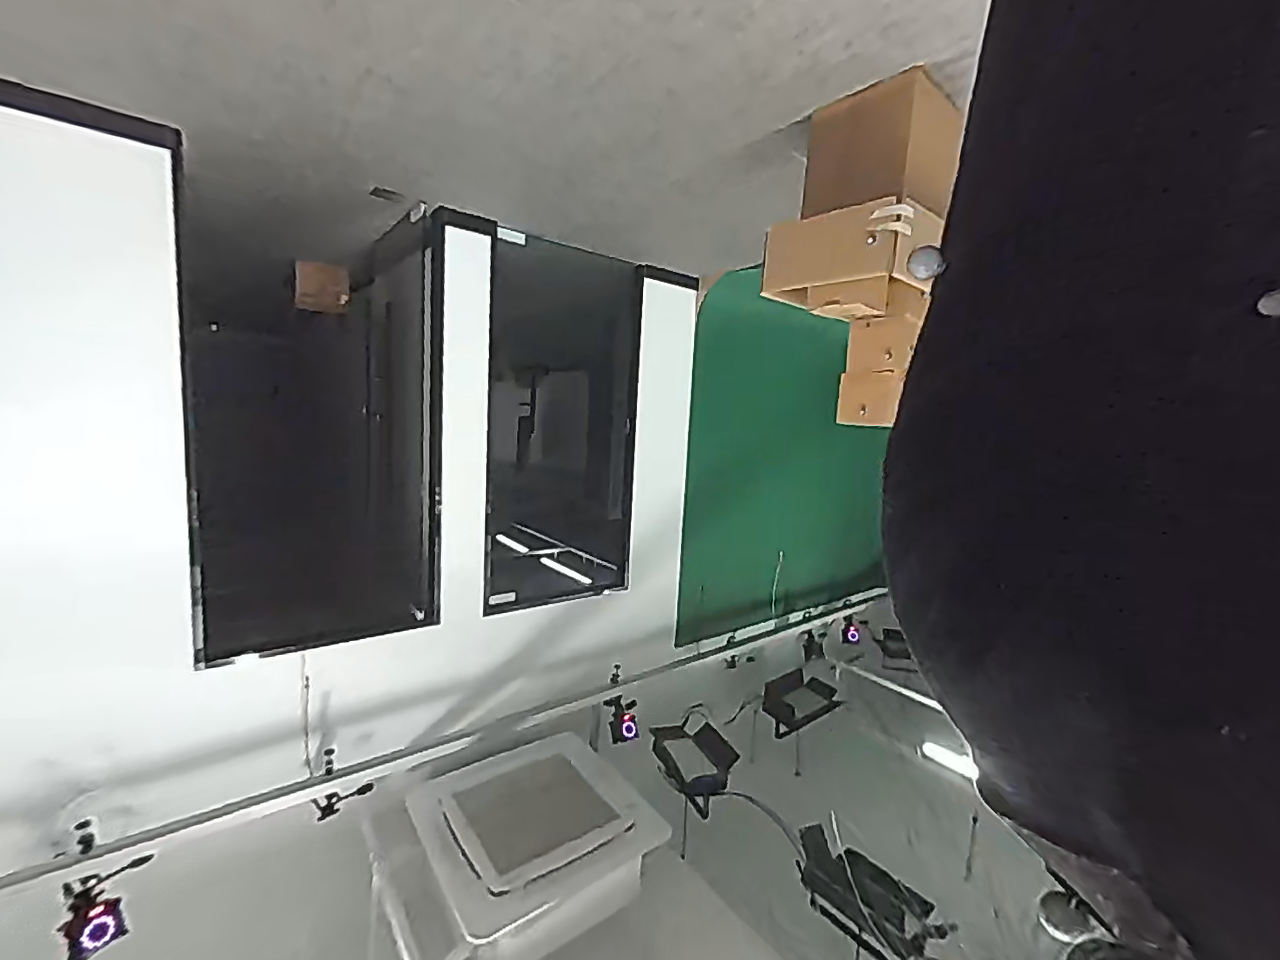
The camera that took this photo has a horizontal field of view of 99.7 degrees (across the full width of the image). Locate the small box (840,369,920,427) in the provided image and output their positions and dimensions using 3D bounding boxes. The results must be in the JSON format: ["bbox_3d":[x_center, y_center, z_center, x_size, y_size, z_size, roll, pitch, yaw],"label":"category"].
[{"bbox_3d":[0.778,-0.264,1.752,0.168,0.176,0.179,-1,-172,-38],"label":"small box"}]
